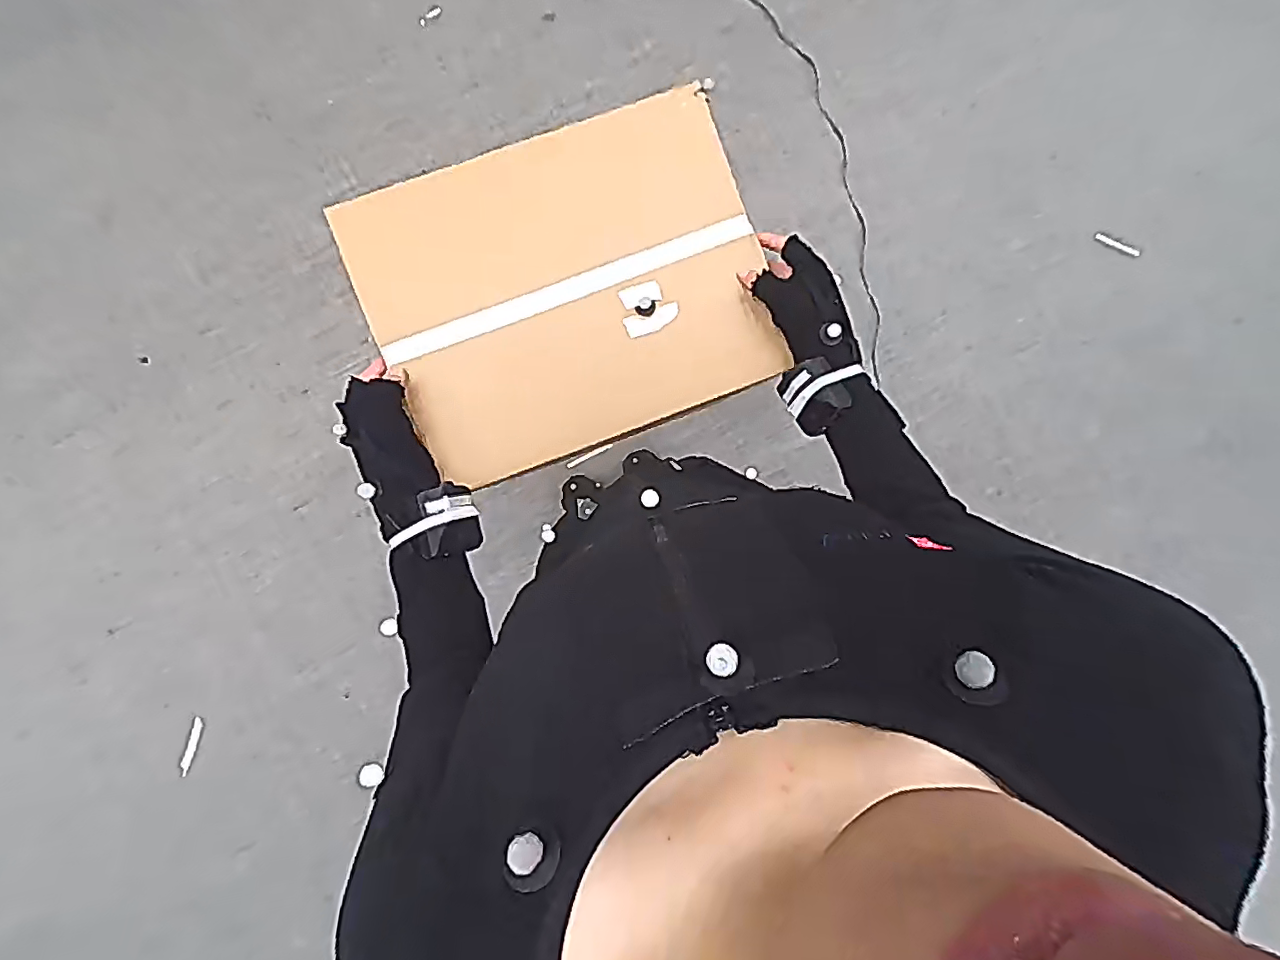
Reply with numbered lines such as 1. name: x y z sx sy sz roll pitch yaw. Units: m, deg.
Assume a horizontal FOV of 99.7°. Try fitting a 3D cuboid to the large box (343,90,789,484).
1. large box: -0.083 -0.208 0.722 0.408 0.320 0.320 -21 93 -3
